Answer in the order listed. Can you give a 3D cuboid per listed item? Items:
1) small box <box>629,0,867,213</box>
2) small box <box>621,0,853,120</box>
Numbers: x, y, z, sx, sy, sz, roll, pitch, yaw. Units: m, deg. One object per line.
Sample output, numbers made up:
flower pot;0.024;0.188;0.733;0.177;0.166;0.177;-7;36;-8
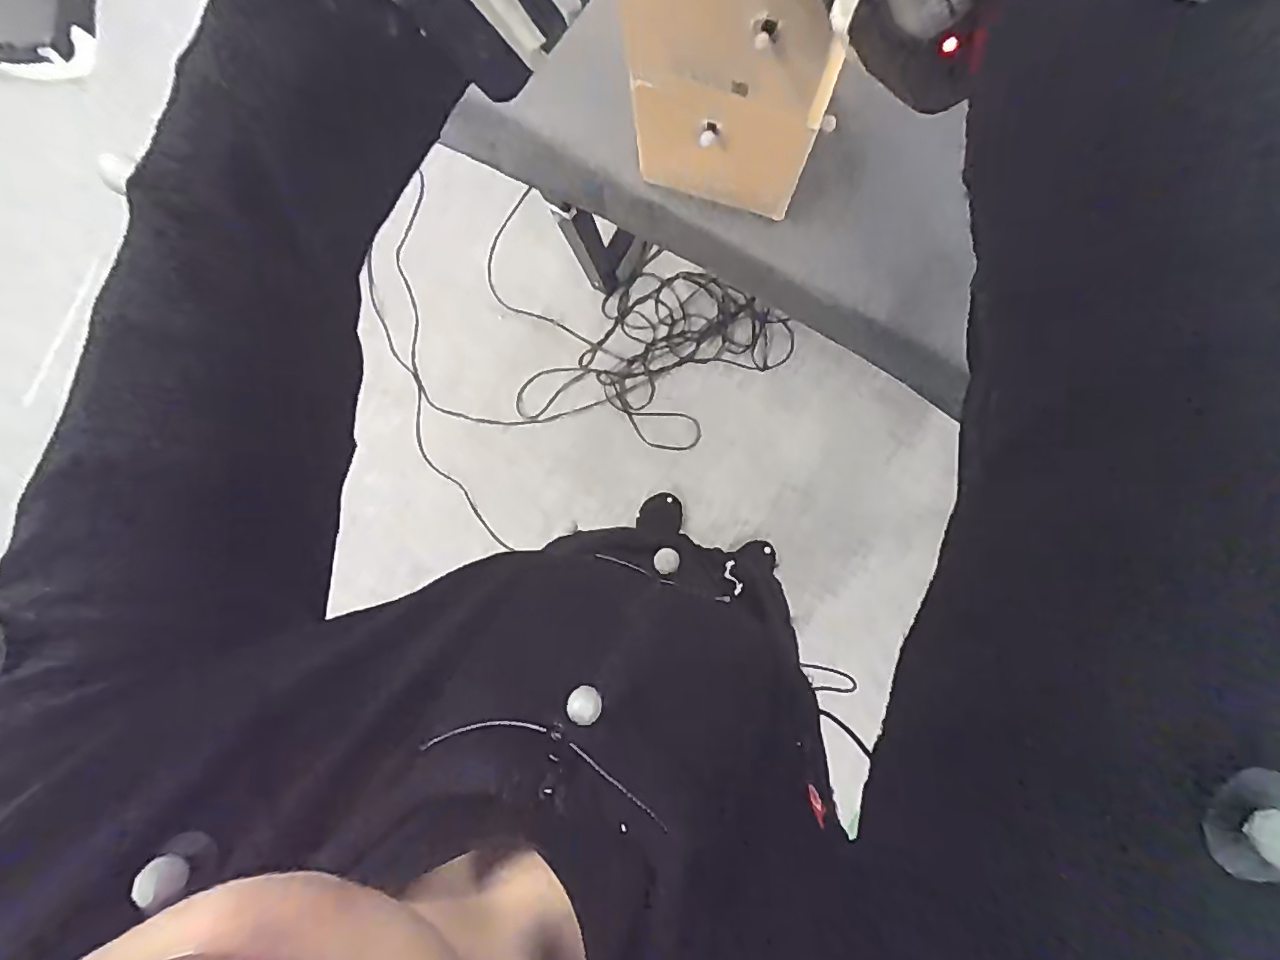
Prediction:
small box;0.104;-0.402;0.547;0.179;0.176;0.168;20;92;5
small box;0.086;-0.408;0.386;0.168;0.176;0.179;22;91;4
